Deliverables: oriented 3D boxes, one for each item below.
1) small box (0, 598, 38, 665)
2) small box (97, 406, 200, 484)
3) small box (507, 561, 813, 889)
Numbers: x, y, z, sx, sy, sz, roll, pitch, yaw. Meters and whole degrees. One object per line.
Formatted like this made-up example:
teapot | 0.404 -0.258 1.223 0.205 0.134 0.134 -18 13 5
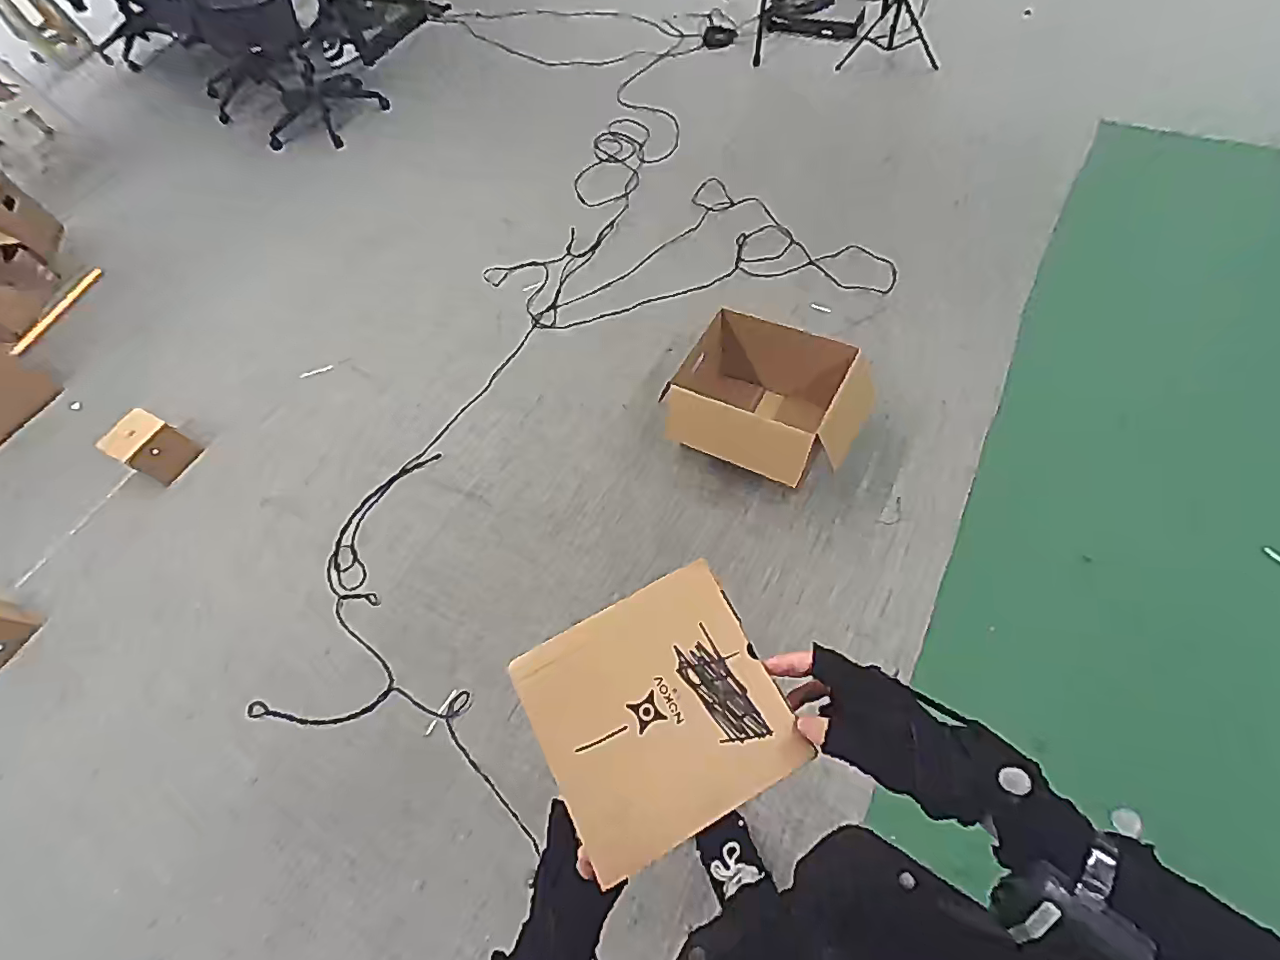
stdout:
small box | -1.969 0.440 1.593 0.179 0.176 0.168 22 67 18
small box | -1.667 -0.118 1.852 0.168 0.176 0.179 22 68 18
small box | 0.011 0.192 0.466 0.179 0.176 0.168 -26 71 -8
